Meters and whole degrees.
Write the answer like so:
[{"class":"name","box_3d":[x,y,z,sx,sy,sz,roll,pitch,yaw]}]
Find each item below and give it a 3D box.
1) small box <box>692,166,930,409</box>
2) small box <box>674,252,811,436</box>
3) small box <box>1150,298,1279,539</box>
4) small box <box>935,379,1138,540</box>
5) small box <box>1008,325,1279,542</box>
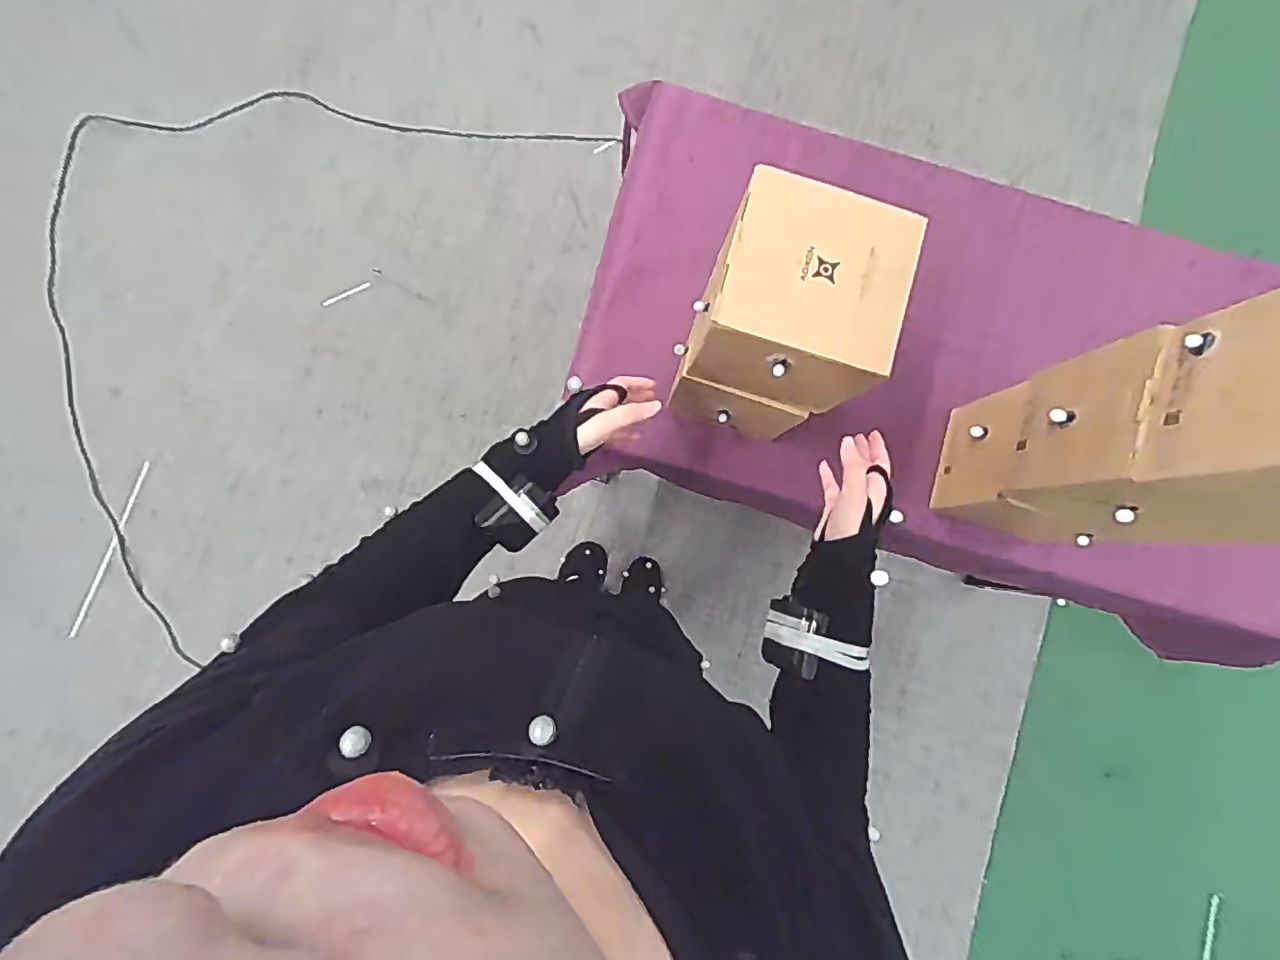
[{"class":"small box","box_3d":[0.166,-0.188,0.582,0.179,0.176,0.168,17,85,-2]},{"class":"small box","box_3d":[0.152,-0.173,0.744,0.168,0.176,0.179,19,83,-2]},{"class":"small box","box_3d":[0.570,-0.048,0.426,0.179,0.176,0.168,22,83,-2]},{"class":"small box","box_3d":[0.550,-0.017,0.753,0.179,0.176,0.168,17,83,-2]},{"class":"small box","box_3d":[0.552,-0.036,0.589,0.179,0.176,0.168,21,84,-1]}]
